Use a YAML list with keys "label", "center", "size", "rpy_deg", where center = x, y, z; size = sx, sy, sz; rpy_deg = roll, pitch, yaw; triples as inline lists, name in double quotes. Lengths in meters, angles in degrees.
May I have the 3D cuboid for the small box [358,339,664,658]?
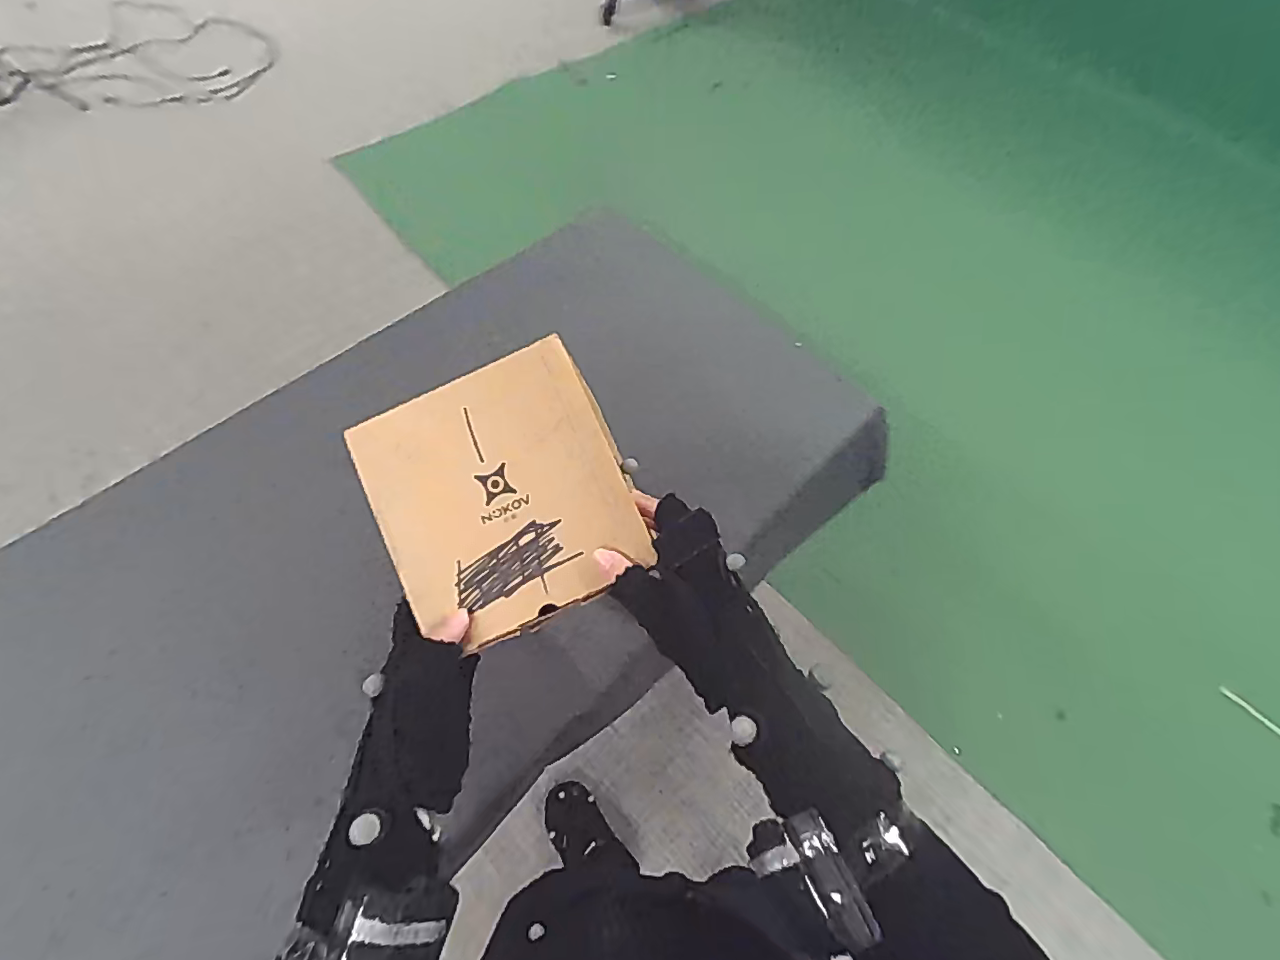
- label: "small box"
  center: [-0.085, 0.017, 0.446]
  size: [0.168, 0.176, 0.179]
  rpy_deg: [-23, 84, 1]
